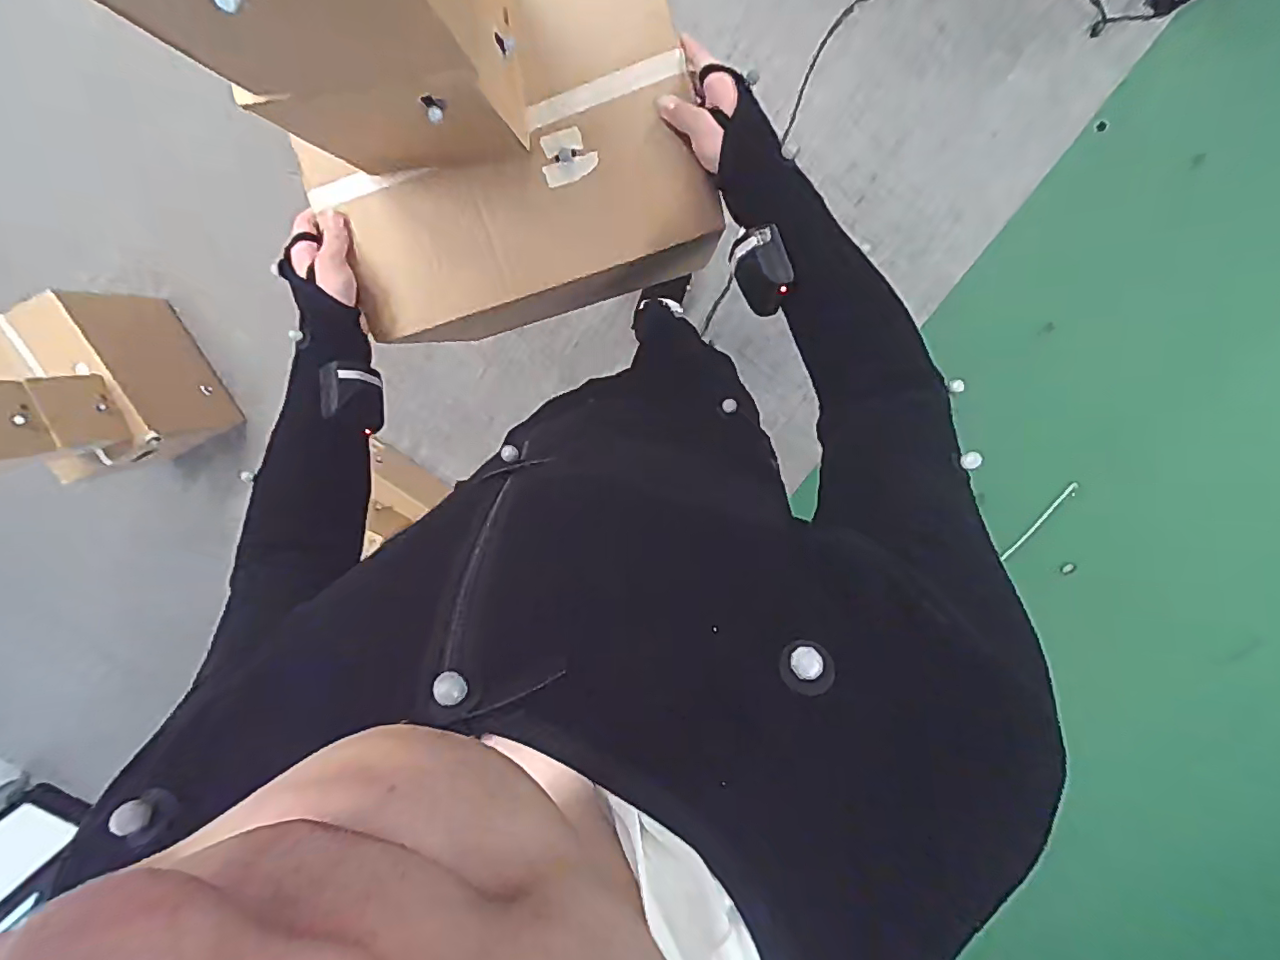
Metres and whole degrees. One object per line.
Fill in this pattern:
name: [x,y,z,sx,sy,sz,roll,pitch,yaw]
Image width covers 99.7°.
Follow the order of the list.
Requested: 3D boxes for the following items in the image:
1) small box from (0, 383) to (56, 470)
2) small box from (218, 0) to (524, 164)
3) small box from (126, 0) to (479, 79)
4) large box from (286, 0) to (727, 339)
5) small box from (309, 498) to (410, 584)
small box: [-1.390,-0.096,1.109,0.179,0.176,0.168,-14,104,5]
small box: [-0.209,-0.376,0.435,0.179,0.176,0.168,-4,104,4]
small box: [-0.200,-0.335,0.276,0.179,0.176,0.168,0,105,3]
large box: [-0.138,-0.388,0.679,0.408,0.320,0.320,-16,105,7]
small box: [-0.818,0.169,1.589,0.179,0.176,0.168,30,104,-5]
